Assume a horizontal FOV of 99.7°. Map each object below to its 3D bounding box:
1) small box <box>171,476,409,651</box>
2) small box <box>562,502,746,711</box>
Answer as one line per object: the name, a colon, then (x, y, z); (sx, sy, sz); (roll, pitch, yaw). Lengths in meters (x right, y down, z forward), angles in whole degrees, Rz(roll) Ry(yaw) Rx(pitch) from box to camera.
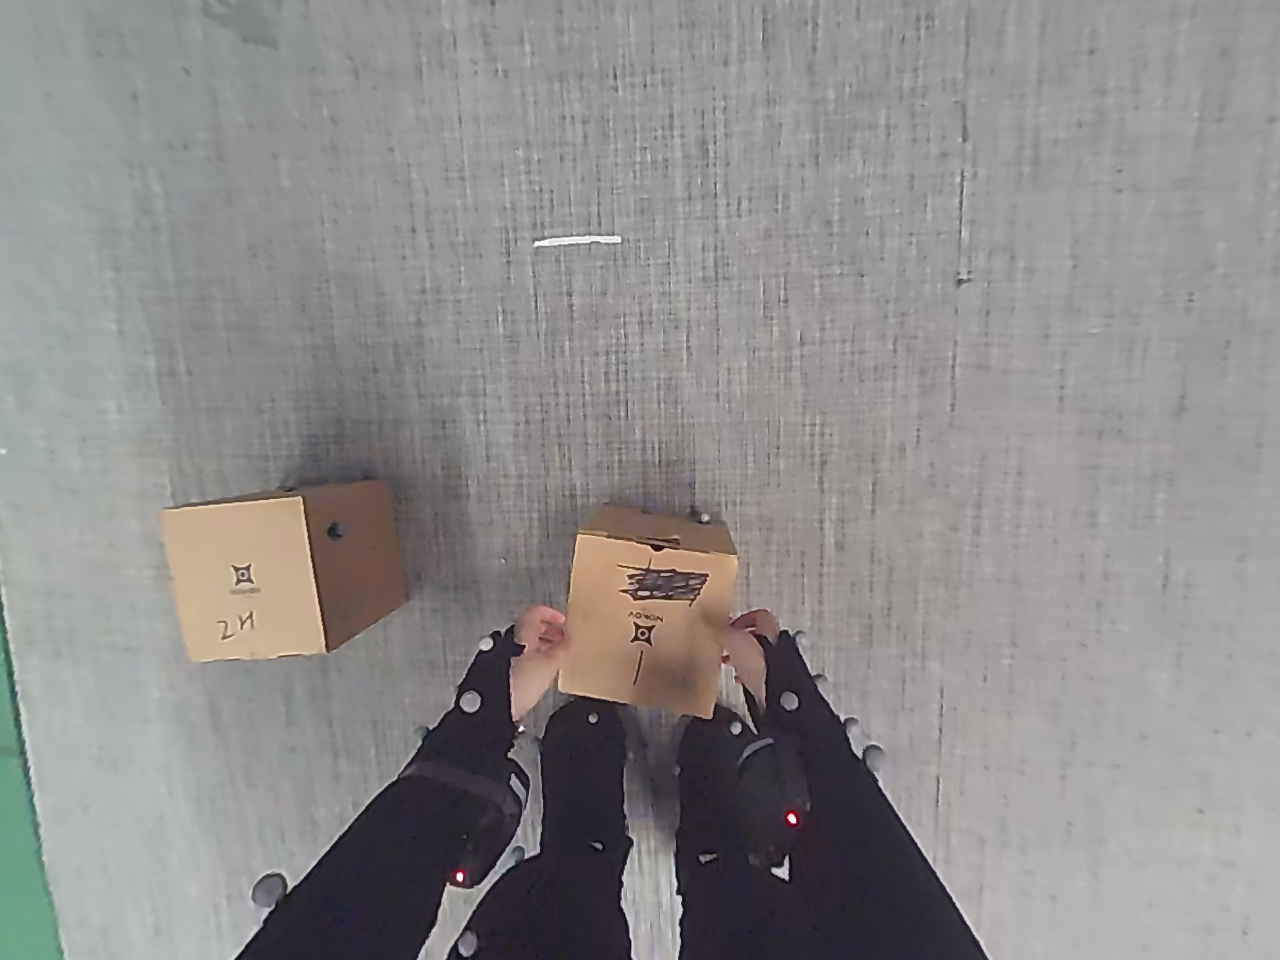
small box: (-0.407, 0.089, 0.658); (0.168, 0.176, 0.179); (-5, 96, 6)
small box: (0.018, 0.129, 0.624); (0.168, 0.176, 0.179); (9, 98, 4)
